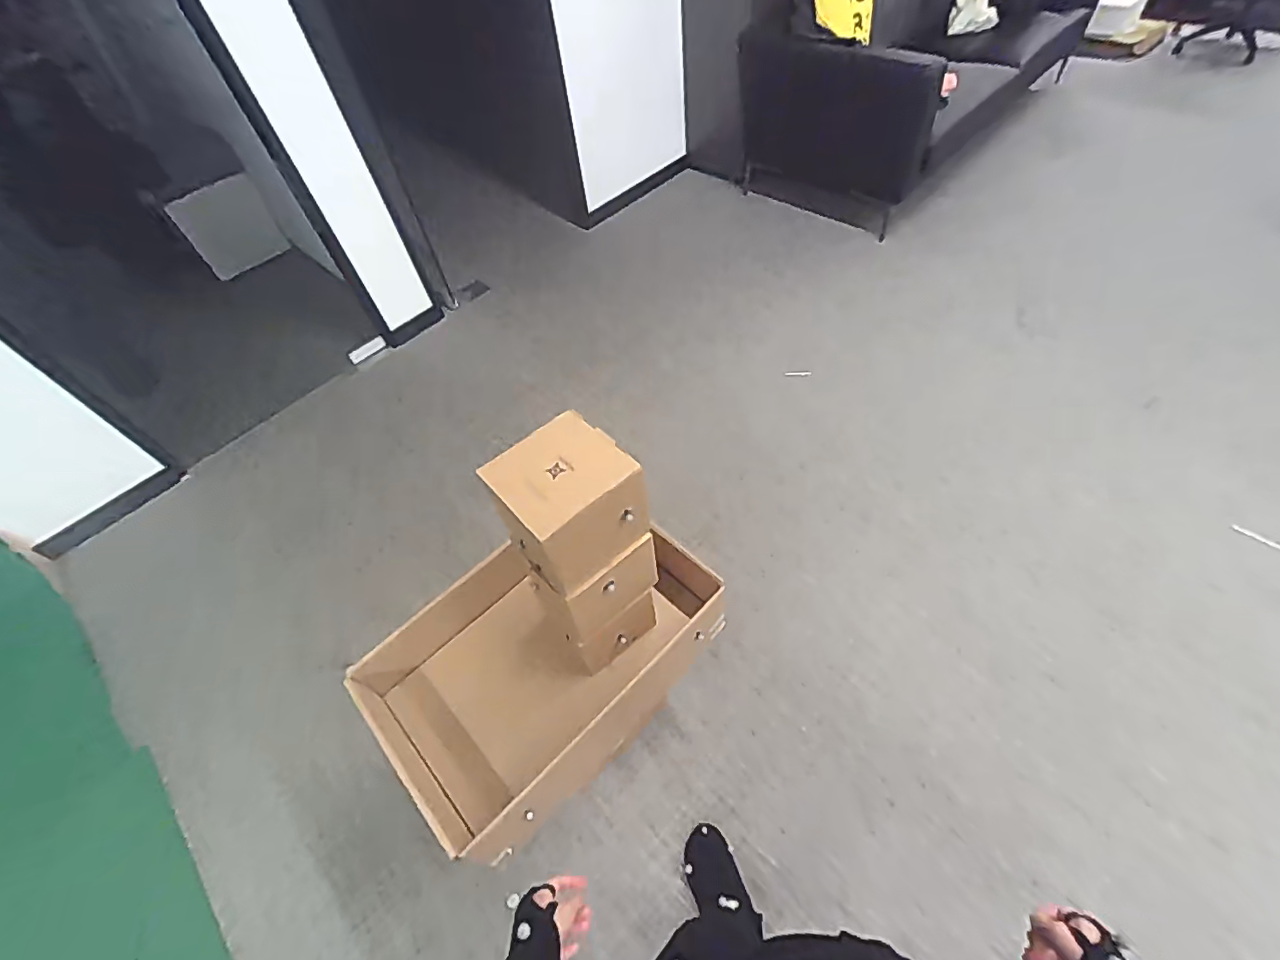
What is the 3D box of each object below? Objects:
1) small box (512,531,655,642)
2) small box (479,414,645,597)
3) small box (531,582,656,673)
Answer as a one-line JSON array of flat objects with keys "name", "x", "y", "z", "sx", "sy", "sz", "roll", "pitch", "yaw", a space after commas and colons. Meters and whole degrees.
[{"name": "small box", "x": -0.088, "y": 0.148, "z": 0.938, "sx": 0.179, "sy": 0.176, "sz": 0.168, "roll": -36, "pitch": 57, "yaw": -20}, {"name": "small box", "x": -0.106, "y": 0.040, "z": 0.816, "sx": 0.179, "sy": 0.176, "sz": 0.168, "roll": -37, "pitch": 56, "yaw": -20}, {"name": "small box", "x": -0.084, "y": 0.254, "z": 1.063, "sx": 0.168, "sy": 0.176, "sz": 0.179, "roll": -35, "pitch": 56, "yaw": -19}]
